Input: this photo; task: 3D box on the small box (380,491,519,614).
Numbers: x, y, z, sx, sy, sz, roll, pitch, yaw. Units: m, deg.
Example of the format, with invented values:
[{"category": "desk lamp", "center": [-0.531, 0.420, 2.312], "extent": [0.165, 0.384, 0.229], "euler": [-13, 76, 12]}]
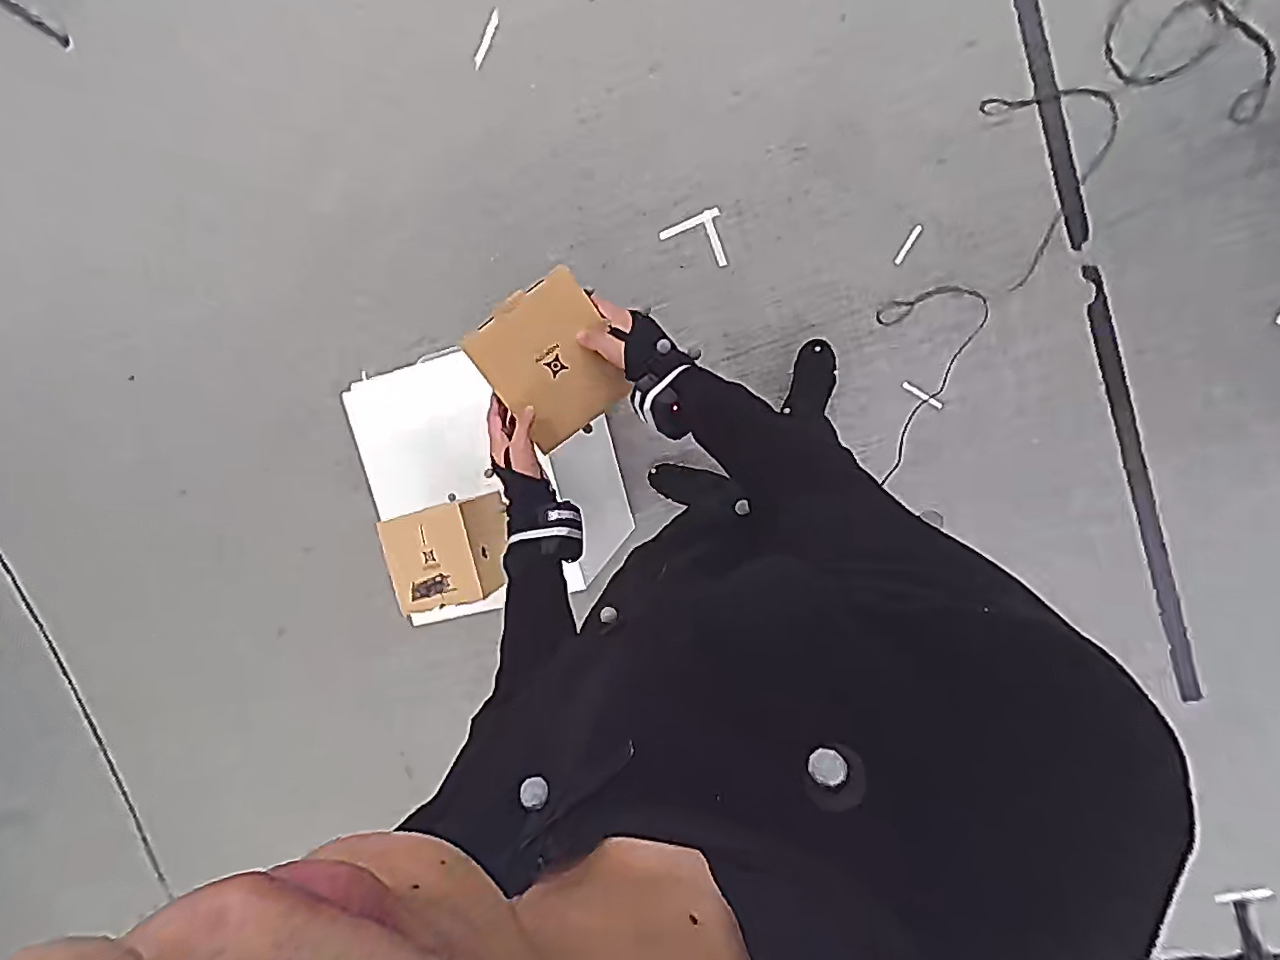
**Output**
[{"category": "small box", "center": [-0.348, 0.129, 1.019], "extent": [0.168, 0.176, 0.179], "euler": [-13, 94, 11]}]

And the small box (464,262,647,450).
[{"category": "small box", "center": [-0.106, -0.167, 0.750], "extent": [0.168, 0.176, 0.179], "euler": [-35, 100, 3]}]
